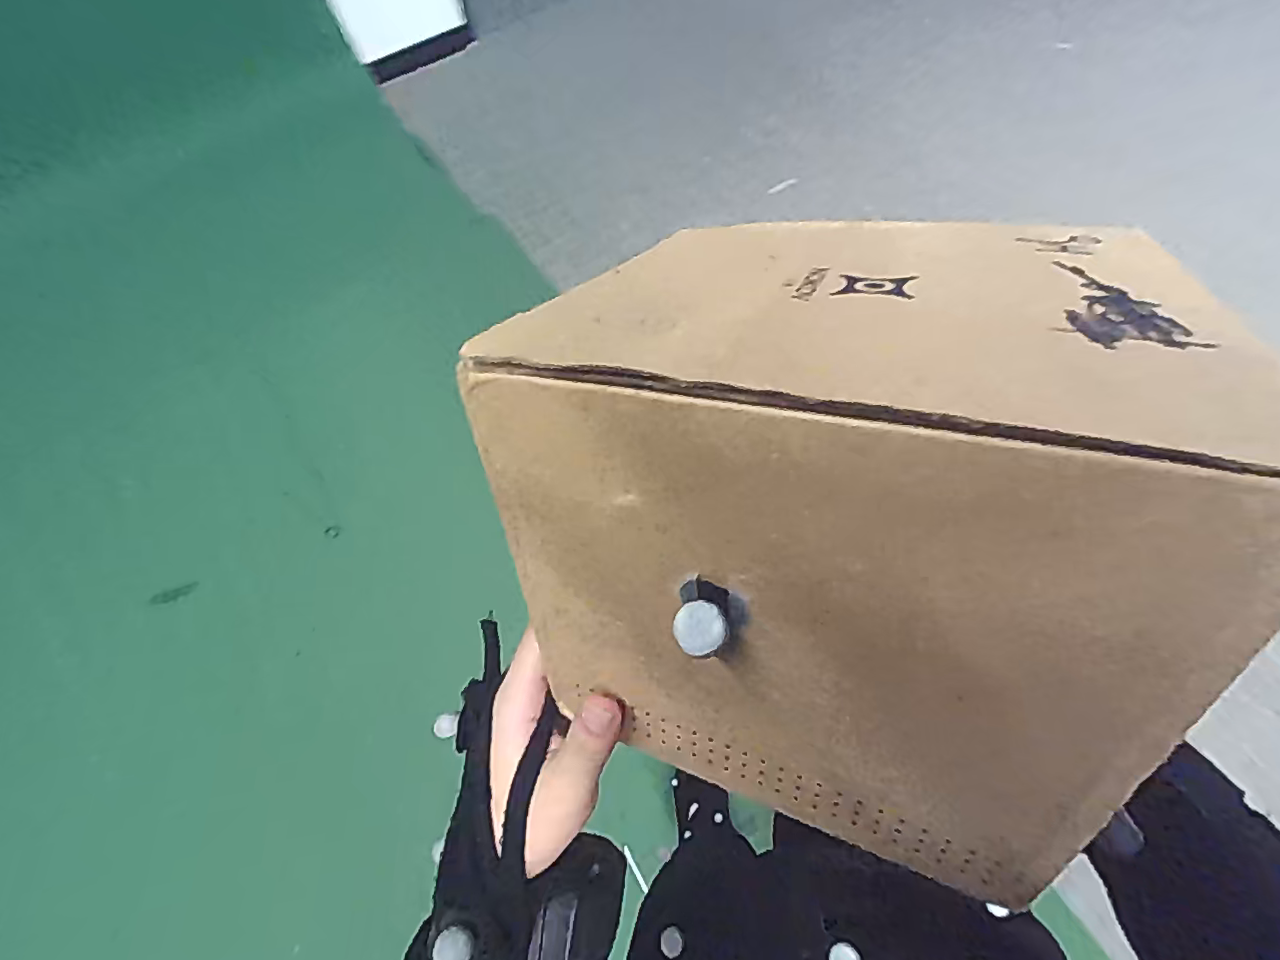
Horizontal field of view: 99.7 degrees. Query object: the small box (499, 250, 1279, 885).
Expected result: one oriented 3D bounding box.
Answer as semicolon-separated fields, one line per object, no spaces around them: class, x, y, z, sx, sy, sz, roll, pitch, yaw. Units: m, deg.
small box;0.078;0.016;0.218;0.179;0.176;0.168;11;39;24
